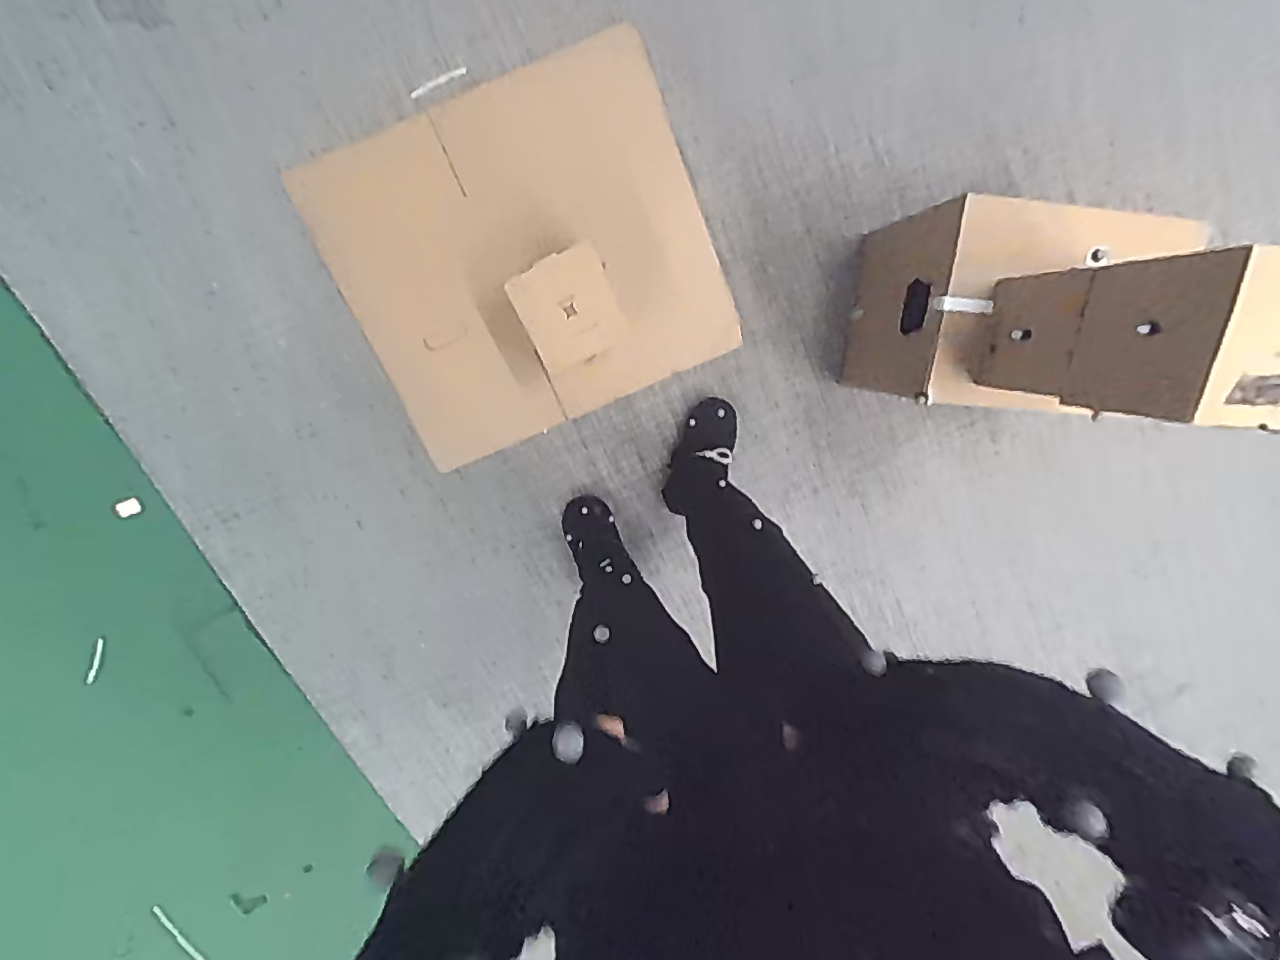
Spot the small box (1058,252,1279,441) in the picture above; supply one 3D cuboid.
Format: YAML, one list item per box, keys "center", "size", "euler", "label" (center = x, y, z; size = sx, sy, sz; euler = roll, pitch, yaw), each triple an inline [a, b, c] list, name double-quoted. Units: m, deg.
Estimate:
- center: [0.635, -0.148, 0.623]
  size: [0.168, 0.176, 0.179]
  euler: [4, 103, -6]
  label: "small box"

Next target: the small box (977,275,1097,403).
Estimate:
- center: [0.629, -0.197, 0.783]
  size: [0.179, 0.176, 0.168]
  euler: [-2, 102, -5]
  label: "small box"

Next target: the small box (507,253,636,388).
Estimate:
- center: [-0.120, -0.290, 1.003]
  size: [0.168, 0.176, 0.179]
  euler: [-27, 104, 6]
  label: "small box"
